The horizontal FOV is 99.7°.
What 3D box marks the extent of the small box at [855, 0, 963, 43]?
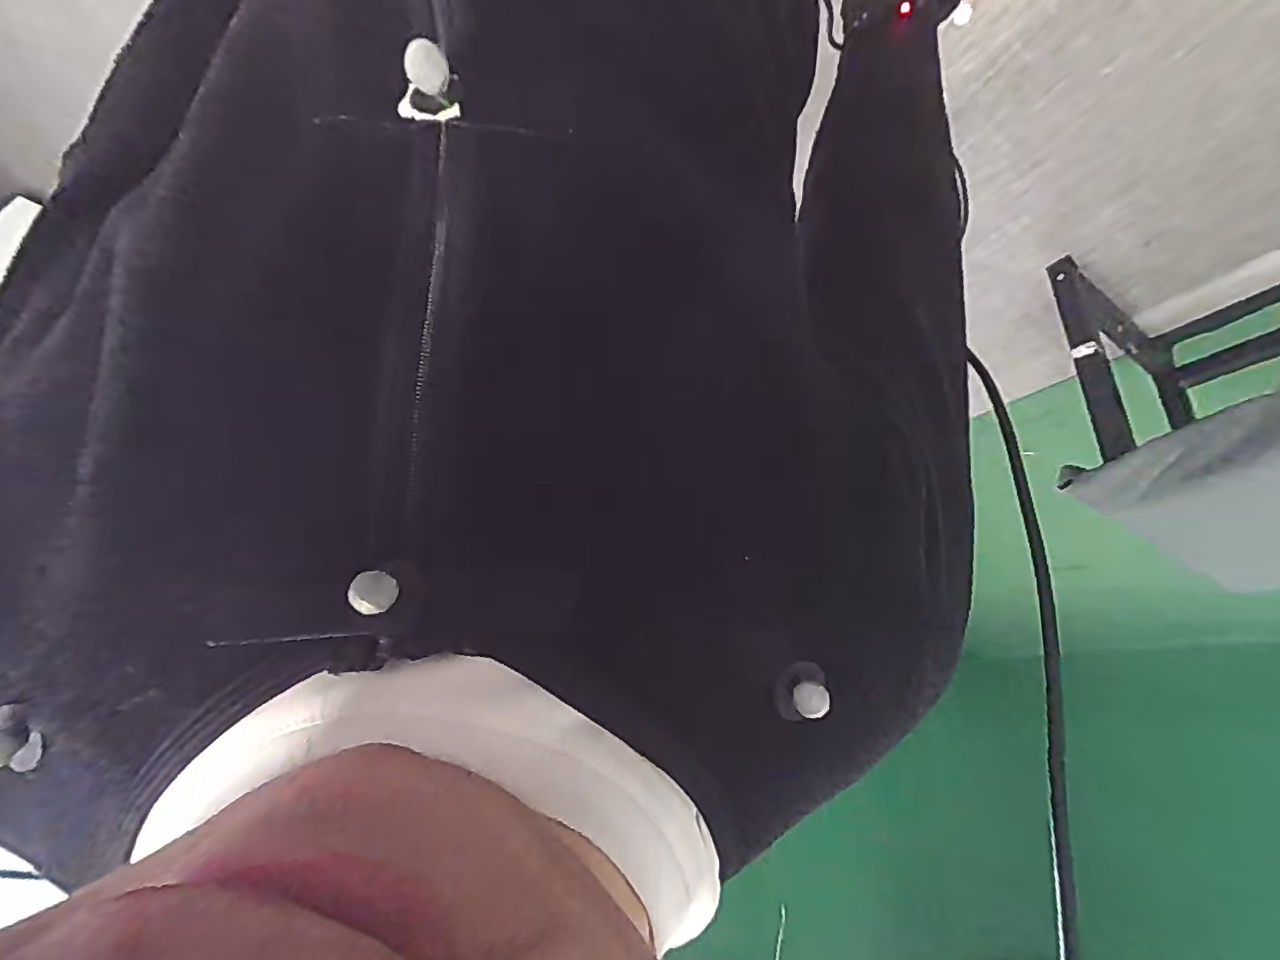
[{"bbox_3d":[0.295,-0.590,0.528,0.168,0.179,0.176,26,-169,-12],"label":"small box"}]
